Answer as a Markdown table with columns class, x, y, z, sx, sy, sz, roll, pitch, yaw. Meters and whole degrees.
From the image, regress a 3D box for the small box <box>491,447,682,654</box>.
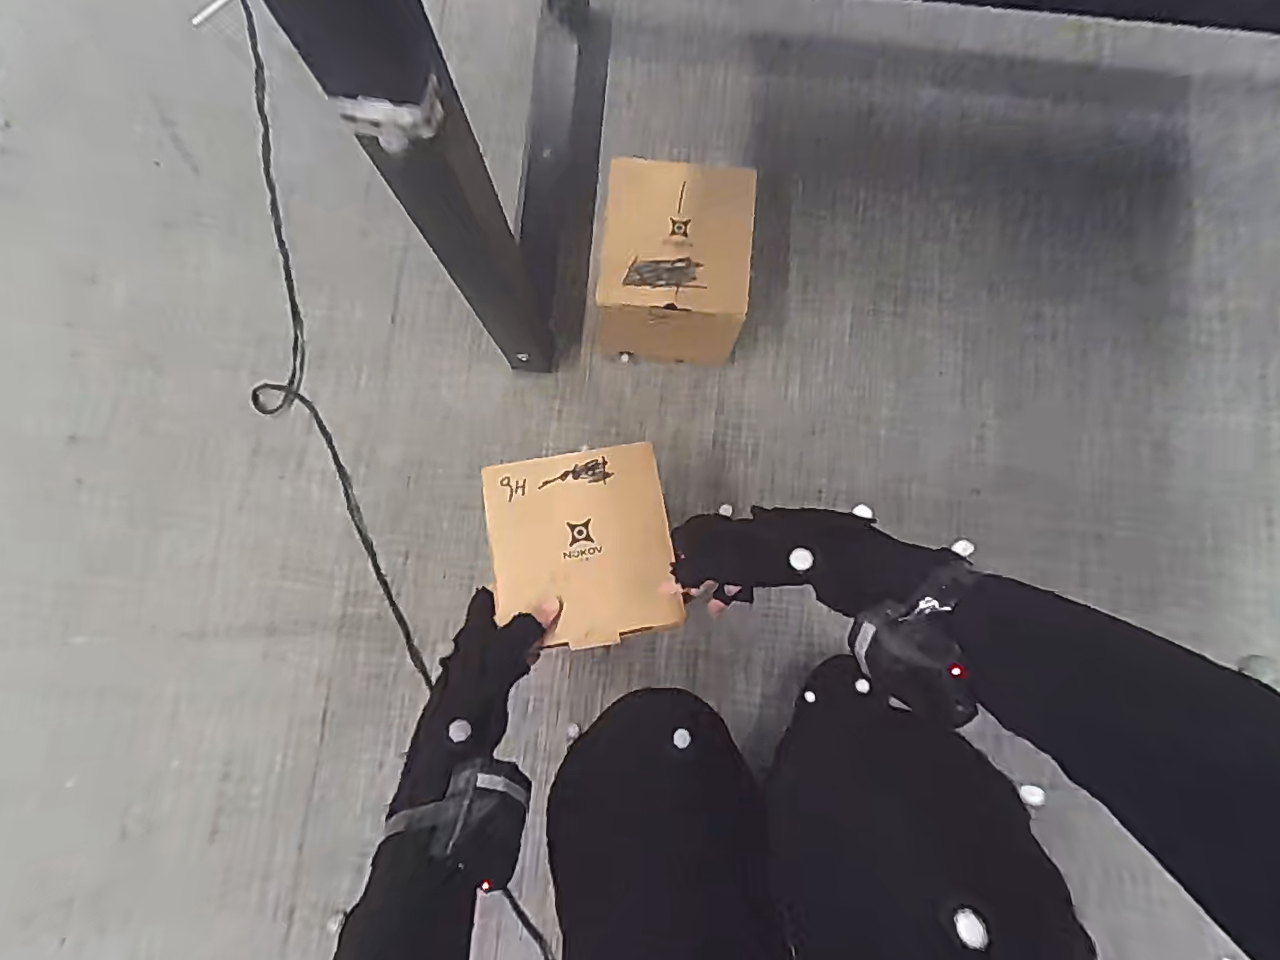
| class | x | y | z | sx | sy | sz | roll | pitch | yaw |
| --- | --- | --- | --- | --- | --- | --- | --- | --- | --- |
| small box | -0.052 | 0.080 | 0.580 | 0.168 | 0.176 | 0.179 | -8 | 75 | -3 |
